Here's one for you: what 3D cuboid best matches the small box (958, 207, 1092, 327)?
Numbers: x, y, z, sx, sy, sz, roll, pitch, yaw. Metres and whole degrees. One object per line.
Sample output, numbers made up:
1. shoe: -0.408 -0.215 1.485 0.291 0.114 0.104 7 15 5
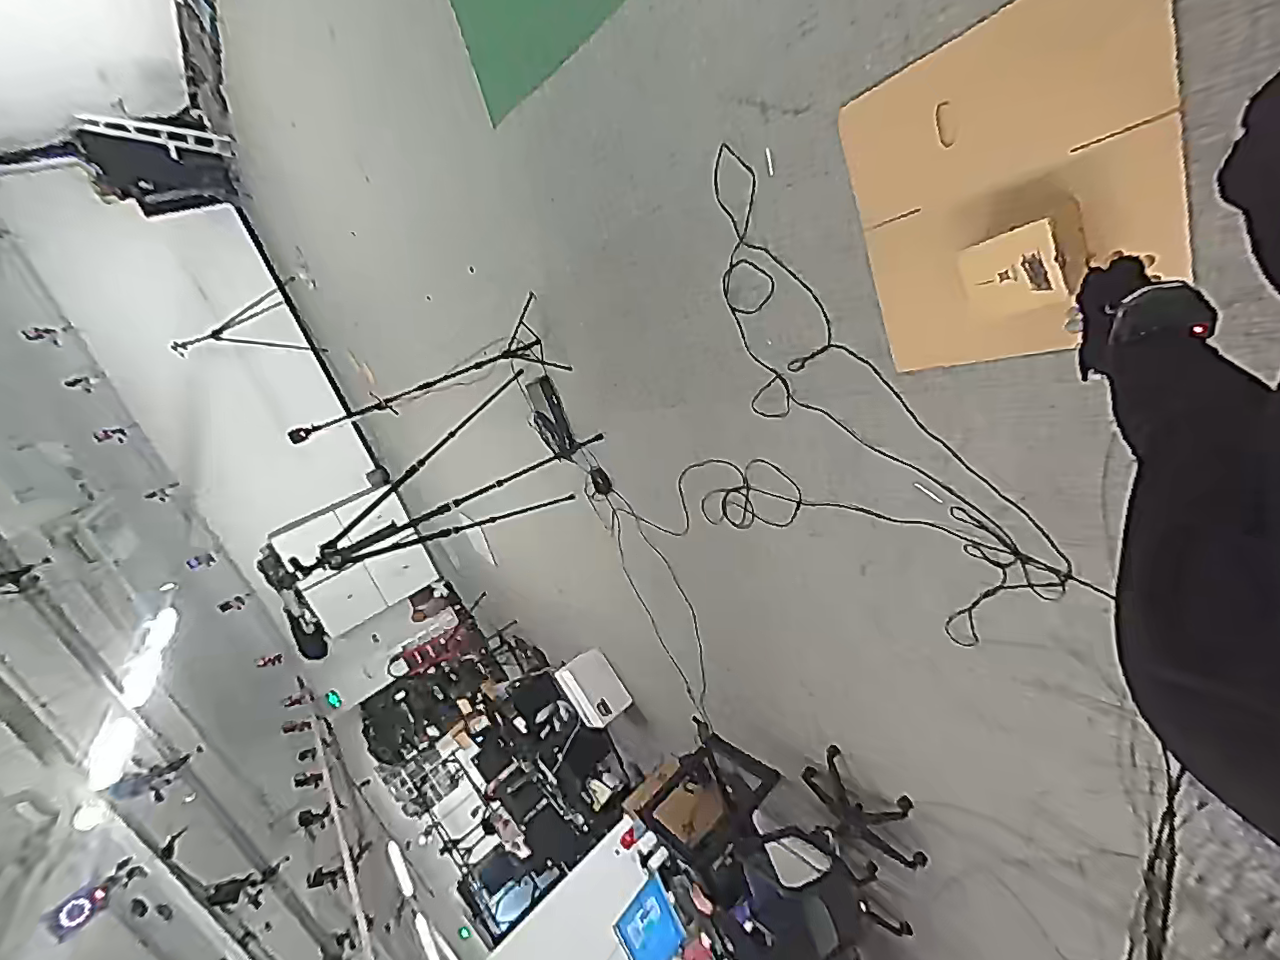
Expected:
1. small box: 0.819 -0.450 1.144 0.179 0.176 0.168 -5 113 57
